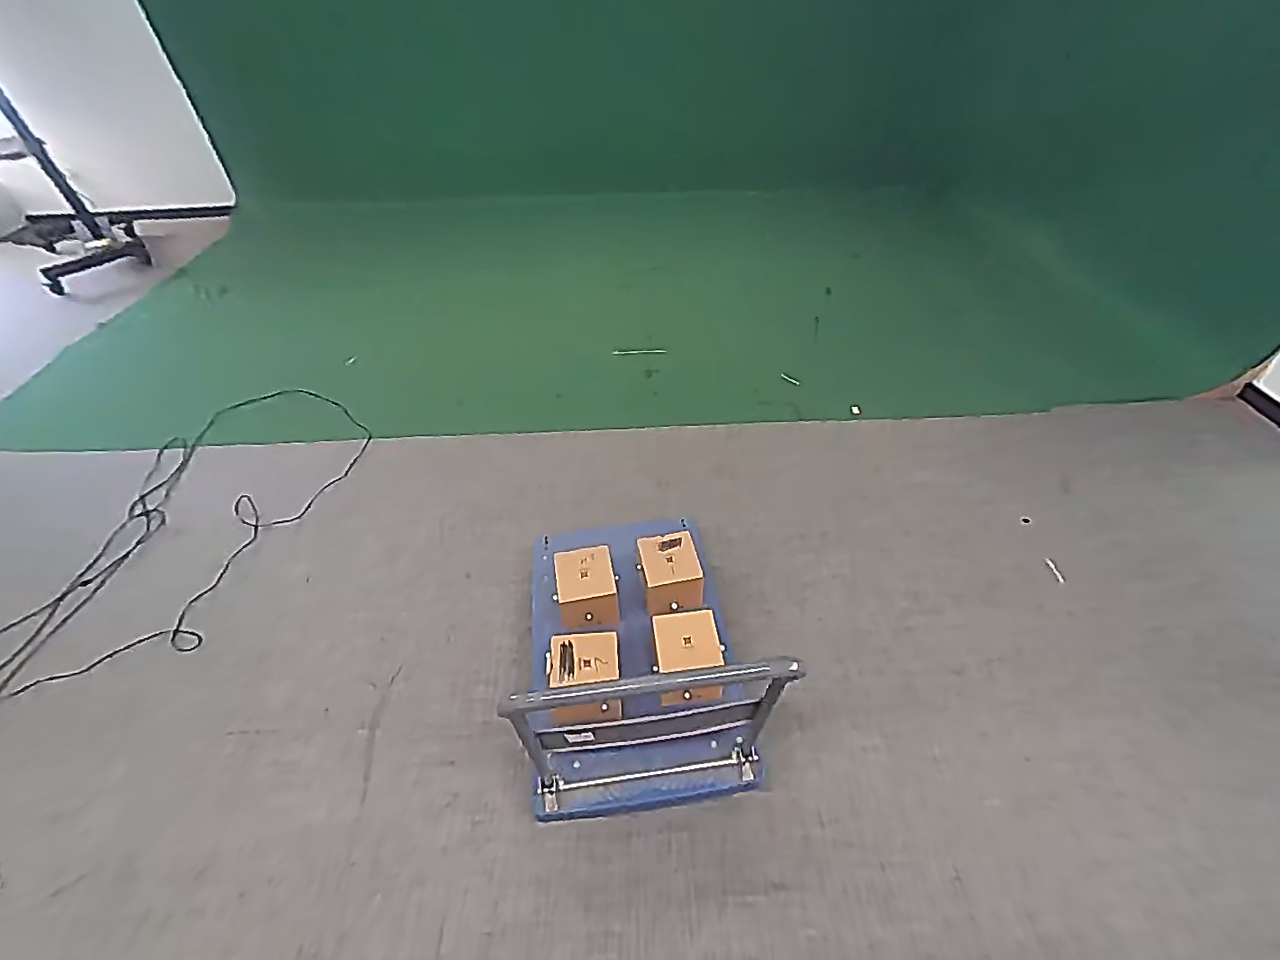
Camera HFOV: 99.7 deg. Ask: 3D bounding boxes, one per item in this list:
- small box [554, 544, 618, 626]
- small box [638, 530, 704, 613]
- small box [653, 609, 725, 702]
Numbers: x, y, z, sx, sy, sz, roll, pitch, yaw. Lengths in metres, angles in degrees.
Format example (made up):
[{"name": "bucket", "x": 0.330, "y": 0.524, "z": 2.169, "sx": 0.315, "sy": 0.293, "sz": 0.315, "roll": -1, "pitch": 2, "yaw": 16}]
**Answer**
[{"name": "small box", "x": -0.159, "y": 0.319, "z": 1.615, "sx": 0.168, "sy": 0.176, "sz": 0.179, "roll": -8, "pitch": 46, "yaw": -7}, {"name": "small box", "x": 0.089, "y": 0.279, "z": 1.645, "sx": 0.168, "sy": 0.176, "sz": 0.179, "roll": -9, "pitch": 48, "yaw": -6}, {"name": "small box", "x": 0.124, "y": 0.474, "z": 1.460, "sx": 0.168, "sy": 0.176, "sz": 0.179, "roll": -5, "pitch": 47, "yaw": -4}]
